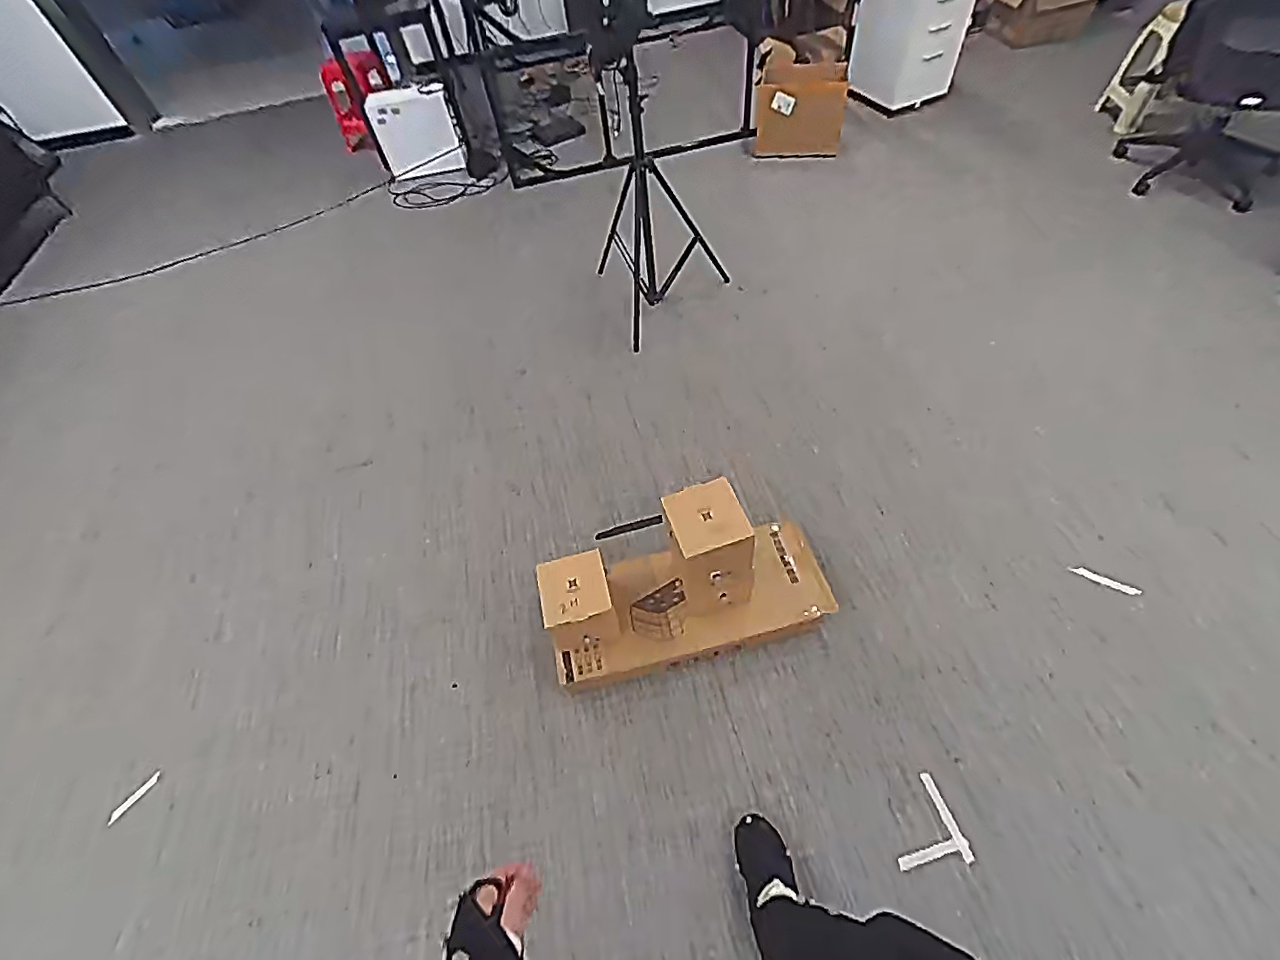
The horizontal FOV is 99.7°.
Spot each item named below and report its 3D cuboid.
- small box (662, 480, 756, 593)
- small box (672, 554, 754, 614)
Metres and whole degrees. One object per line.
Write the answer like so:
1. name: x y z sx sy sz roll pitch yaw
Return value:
1. small box: 0.158 0.135 1.271 0.168 0.176 0.179 -19 54 -6
2. small box: 0.184 0.231 1.402 0.168 0.176 0.179 -16 54 -5
